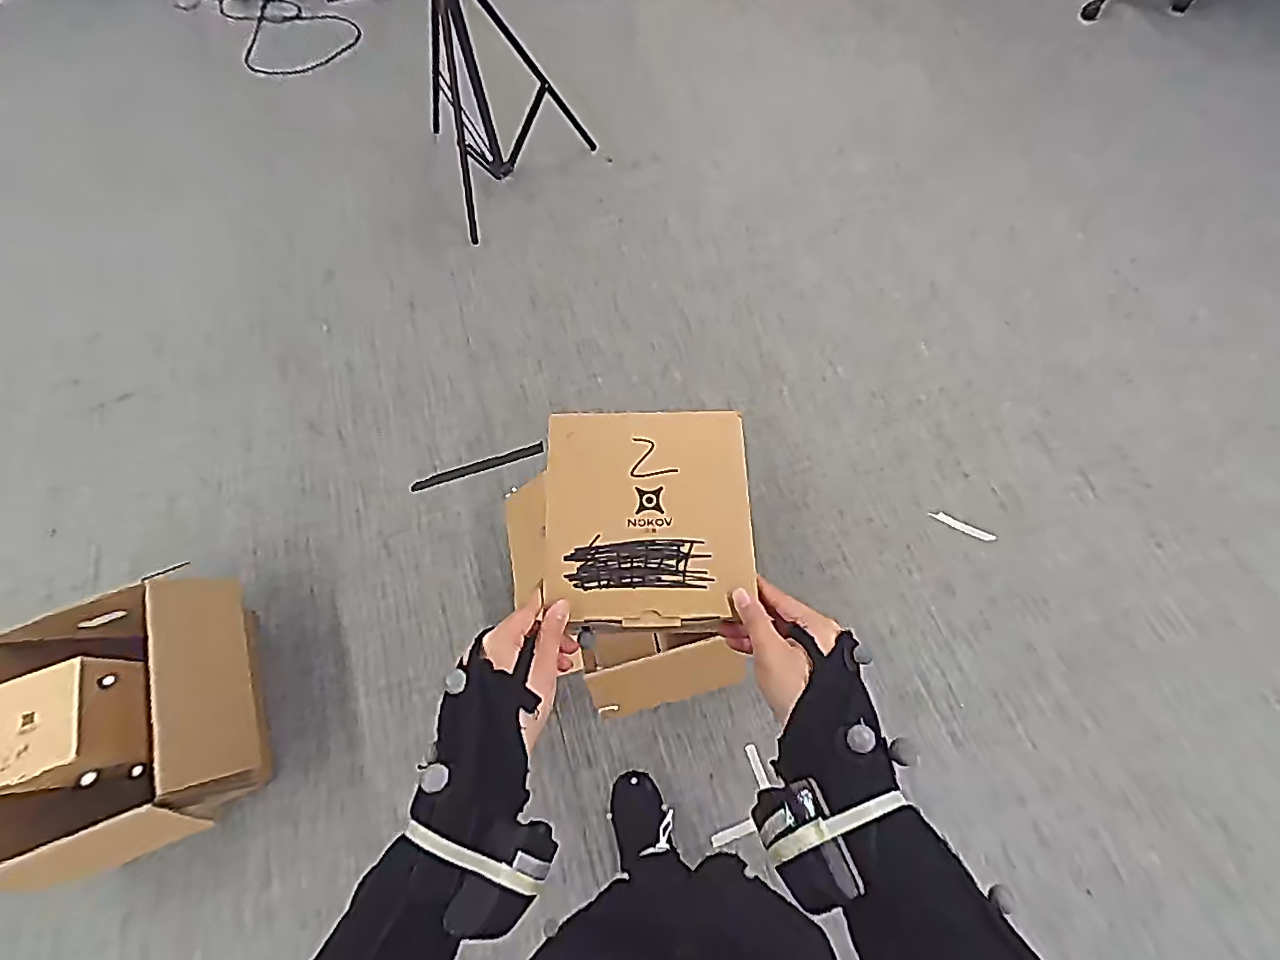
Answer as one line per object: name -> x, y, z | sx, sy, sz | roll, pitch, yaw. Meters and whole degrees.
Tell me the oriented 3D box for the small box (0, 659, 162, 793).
small box -> -1.018, 0.445, 0.980 | 0.168, 0.176, 0.179 | -20, 67, -6
